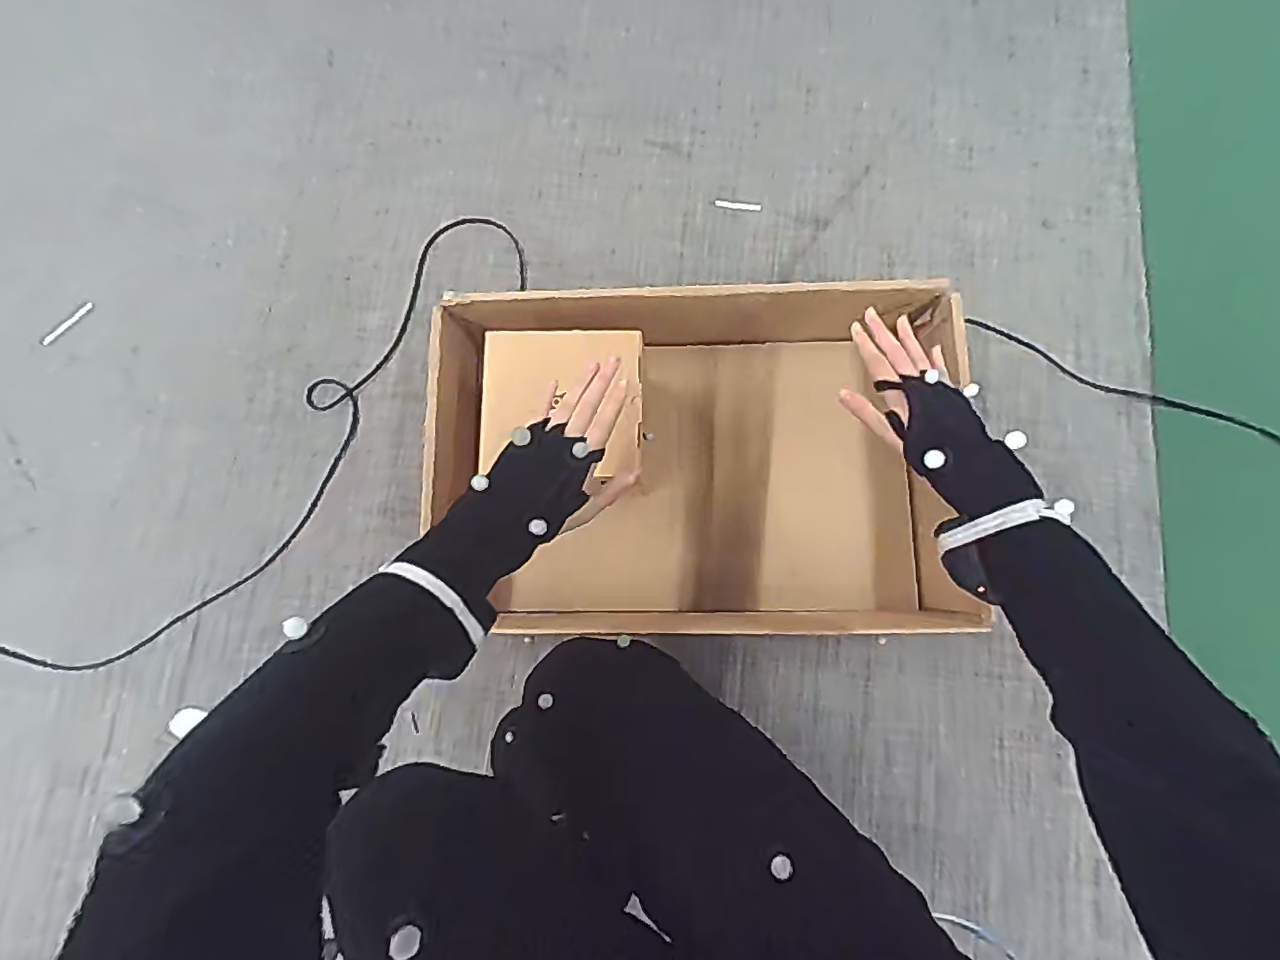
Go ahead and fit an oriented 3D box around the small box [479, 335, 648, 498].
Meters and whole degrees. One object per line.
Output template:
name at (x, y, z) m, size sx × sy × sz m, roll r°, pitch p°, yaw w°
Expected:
small box at (-0.082, -0.067, 0.667) m, size 0.179 × 0.176 × 0.168 m, roll 0°, pitch 82°, yaw 3°
